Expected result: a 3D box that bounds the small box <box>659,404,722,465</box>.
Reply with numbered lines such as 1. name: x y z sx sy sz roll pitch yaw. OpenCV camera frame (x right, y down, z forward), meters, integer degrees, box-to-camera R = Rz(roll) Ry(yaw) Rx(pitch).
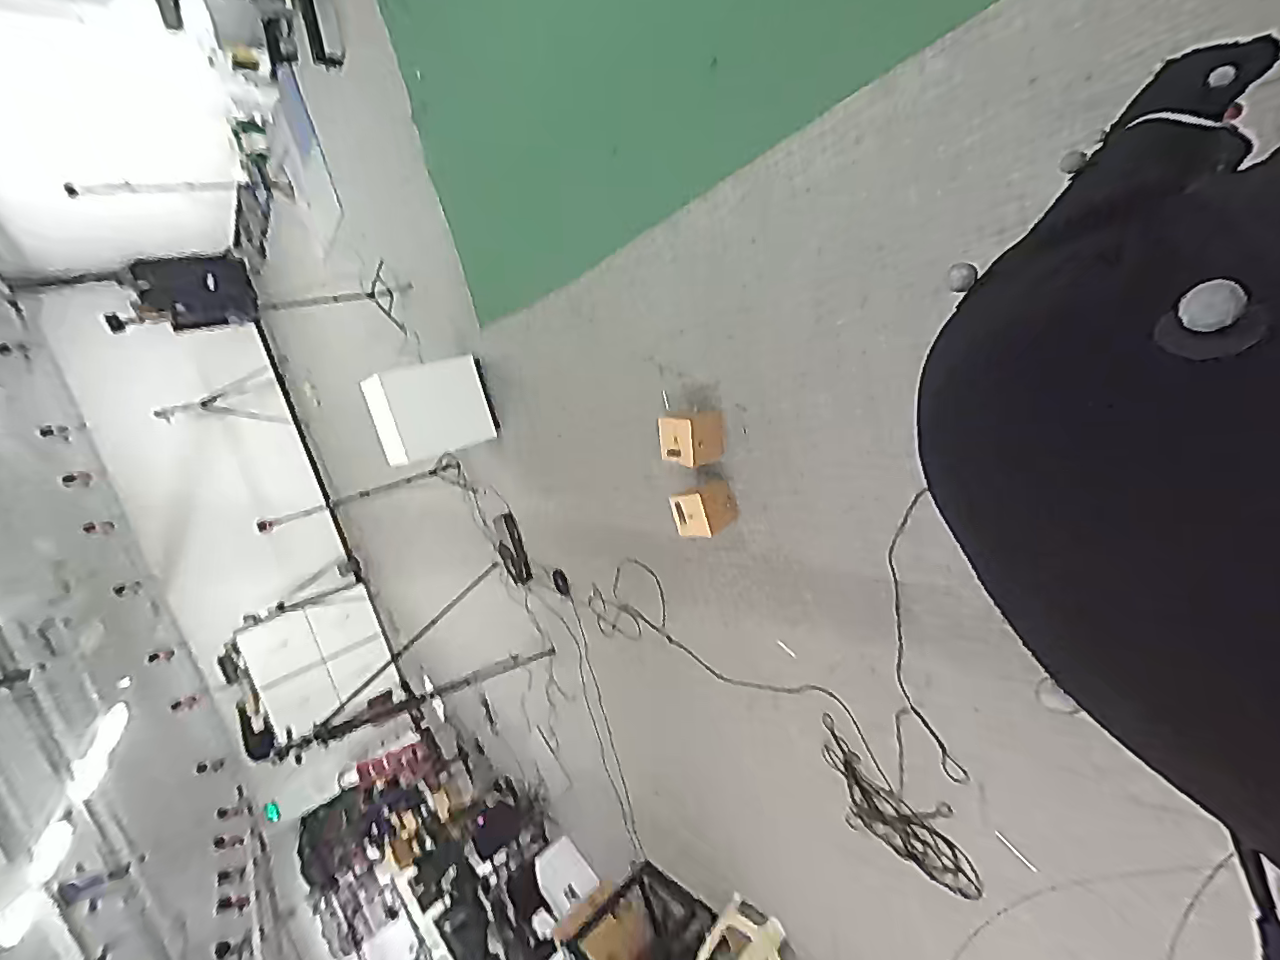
1. small box: 0.192 -0.173 2.014 0.168 0.176 0.179 15 119 45
